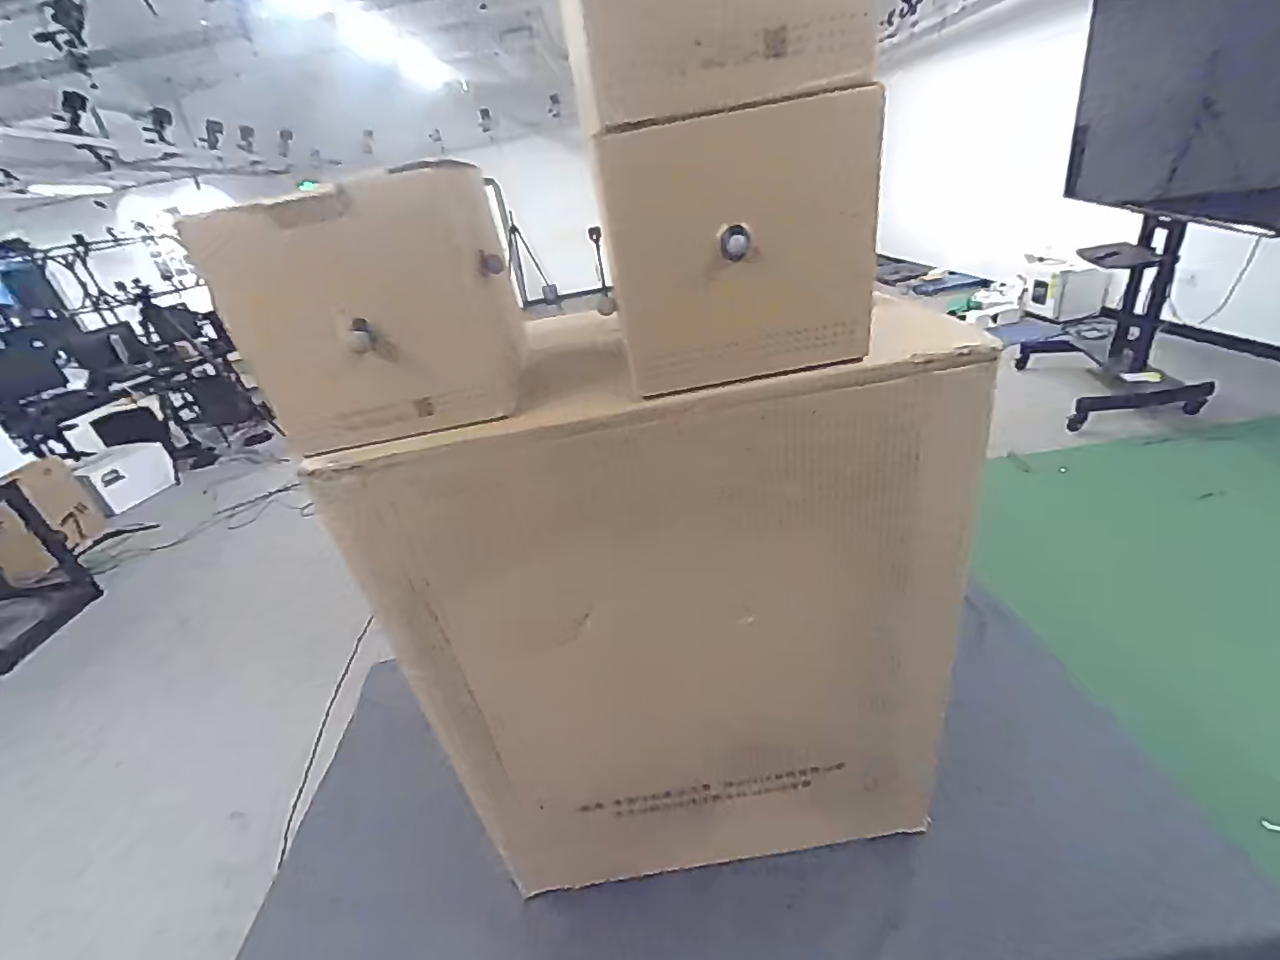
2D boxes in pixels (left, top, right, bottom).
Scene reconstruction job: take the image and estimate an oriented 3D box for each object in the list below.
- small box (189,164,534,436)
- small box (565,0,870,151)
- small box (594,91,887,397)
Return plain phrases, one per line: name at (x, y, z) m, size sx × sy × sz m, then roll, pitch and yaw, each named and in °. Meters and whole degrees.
small box at (-0.192, -0.145, 0.442) m, size 0.168 × 0.176 × 0.179 m, roll -10°, pitch 31°, yaw 1°
small box at (0.037, -0.322, 0.349) m, size 0.168 × 0.176 × 0.179 m, roll -10°, pitch 29°, yaw -3°
small box at (0.065, -0.180, 0.422) m, size 0.179 × 0.176 × 0.168 m, roll -10°, pitch 30°, yaw 1°
